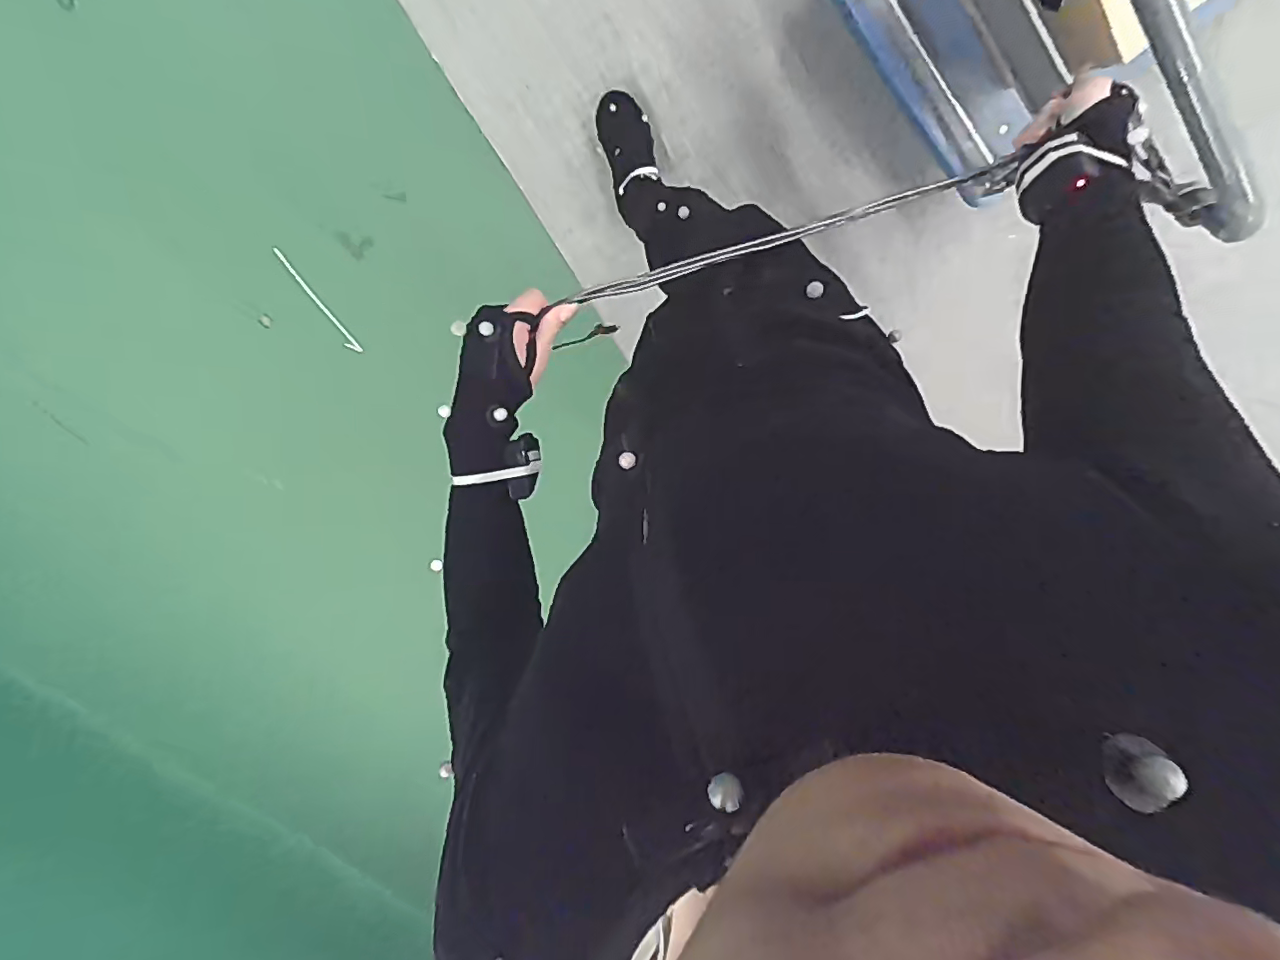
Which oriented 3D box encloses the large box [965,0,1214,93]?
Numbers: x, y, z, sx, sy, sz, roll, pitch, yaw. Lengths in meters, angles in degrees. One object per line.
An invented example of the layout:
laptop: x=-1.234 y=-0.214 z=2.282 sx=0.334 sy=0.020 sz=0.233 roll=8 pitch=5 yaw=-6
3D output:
large box: x=0.750 y=-0.879 z=0.790 sx=0.408 sy=0.320 sz=0.320 roll=-37 pitch=113 yaw=21
